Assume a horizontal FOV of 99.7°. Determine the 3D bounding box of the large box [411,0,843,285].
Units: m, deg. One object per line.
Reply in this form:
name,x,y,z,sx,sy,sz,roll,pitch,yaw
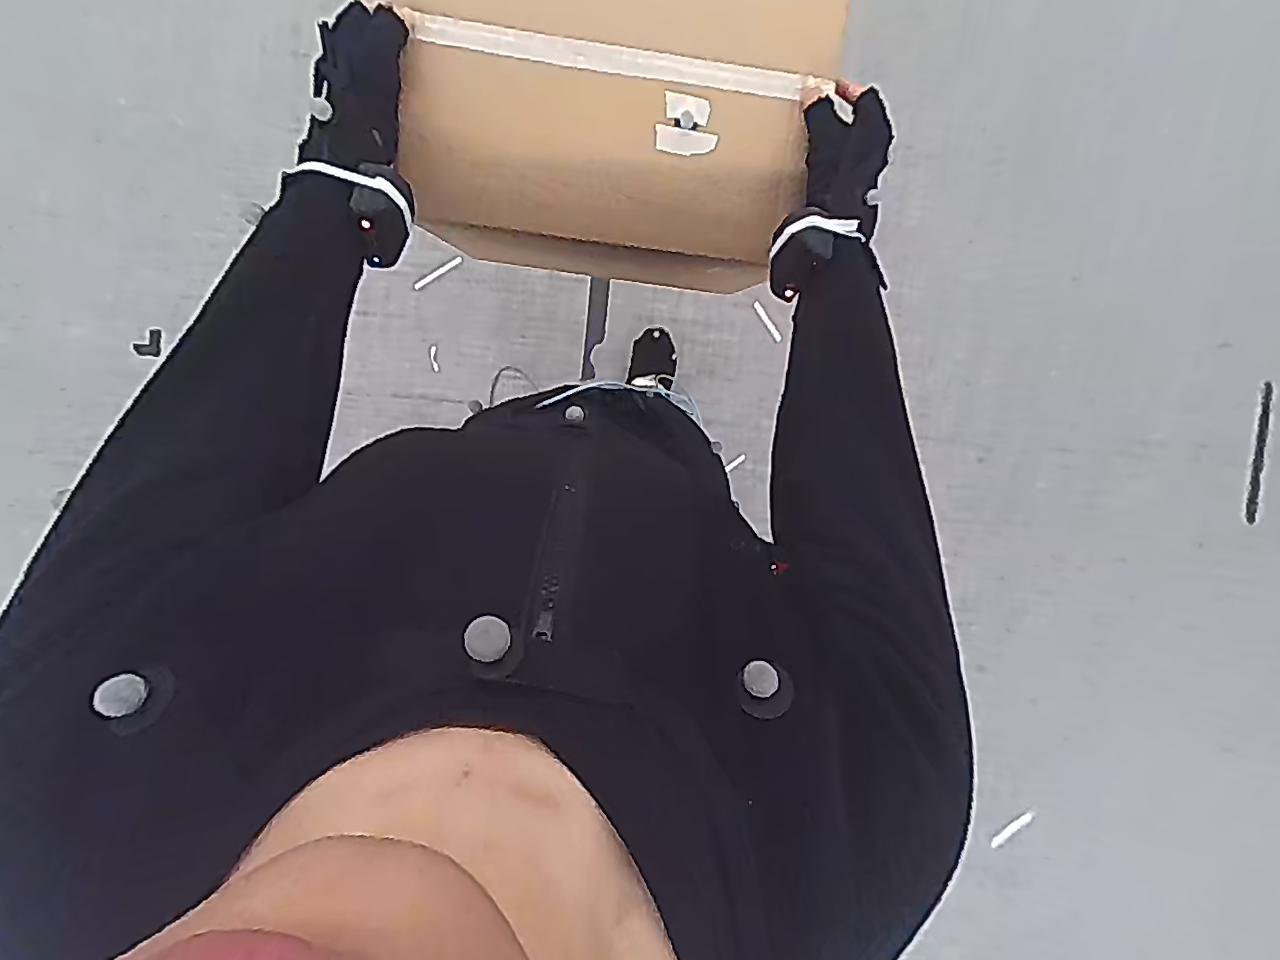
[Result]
large box,-0.024,-0.432,0.653,0.408,0.320,0.320,5,105,-6
